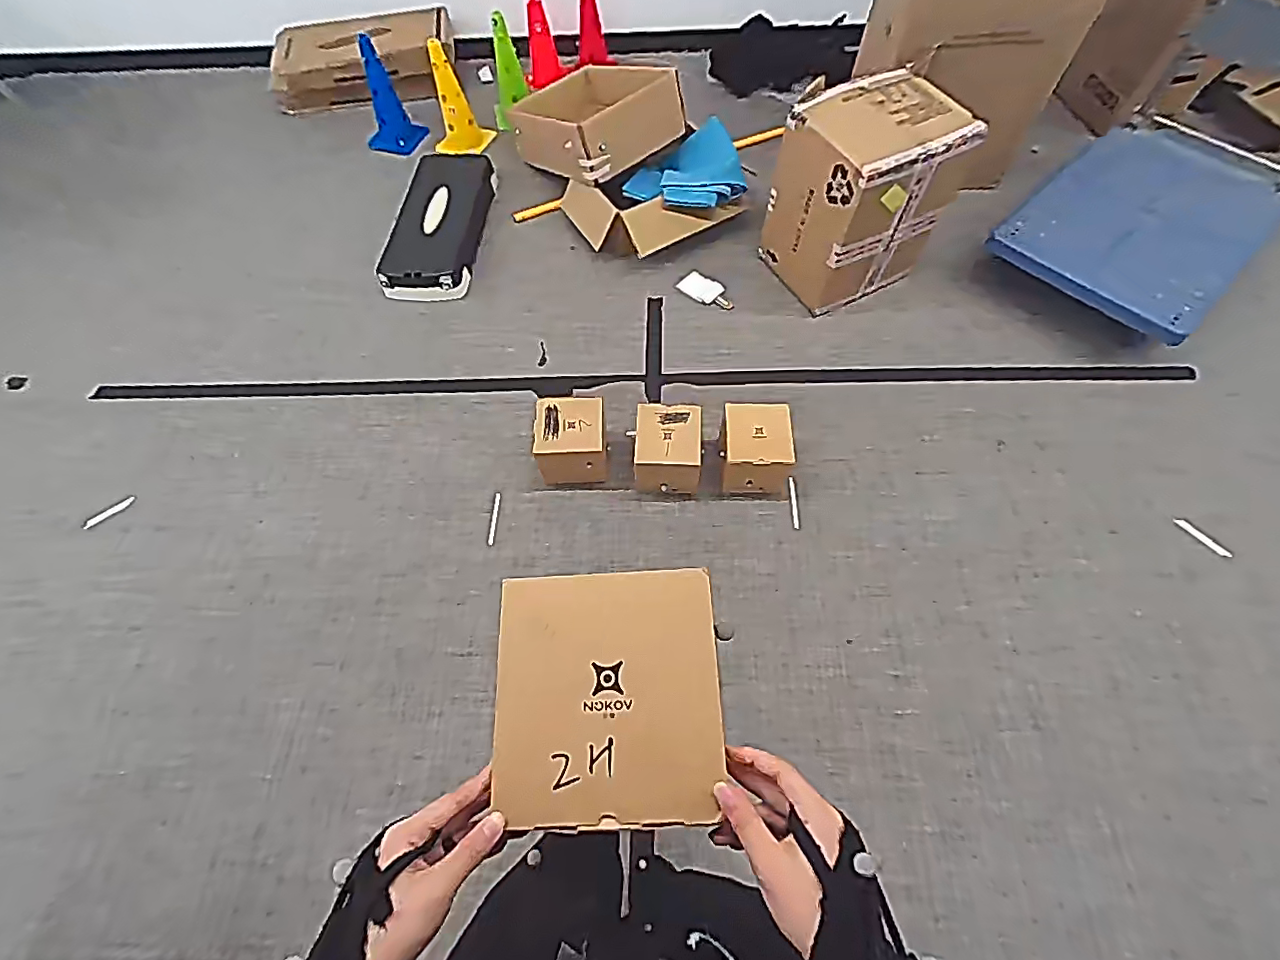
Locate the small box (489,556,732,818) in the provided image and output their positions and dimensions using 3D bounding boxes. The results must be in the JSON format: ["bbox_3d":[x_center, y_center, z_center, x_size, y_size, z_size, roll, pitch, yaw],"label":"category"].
[{"bbox_3d":[-0.017,0.174,0.463,0.168,0.176,0.179,-4,68,4],"label":"small box"}]

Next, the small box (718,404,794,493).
[{"bbox_3d":[0.298,-0.081,1.426,0.168,0.176,0.179,0,63,1],"label":"small box"}]

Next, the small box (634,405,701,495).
[{"bbox_3d":[0.071,-0.077,1.428,0.168,0.176,0.179,2,64,3],"label":"small box"}]
